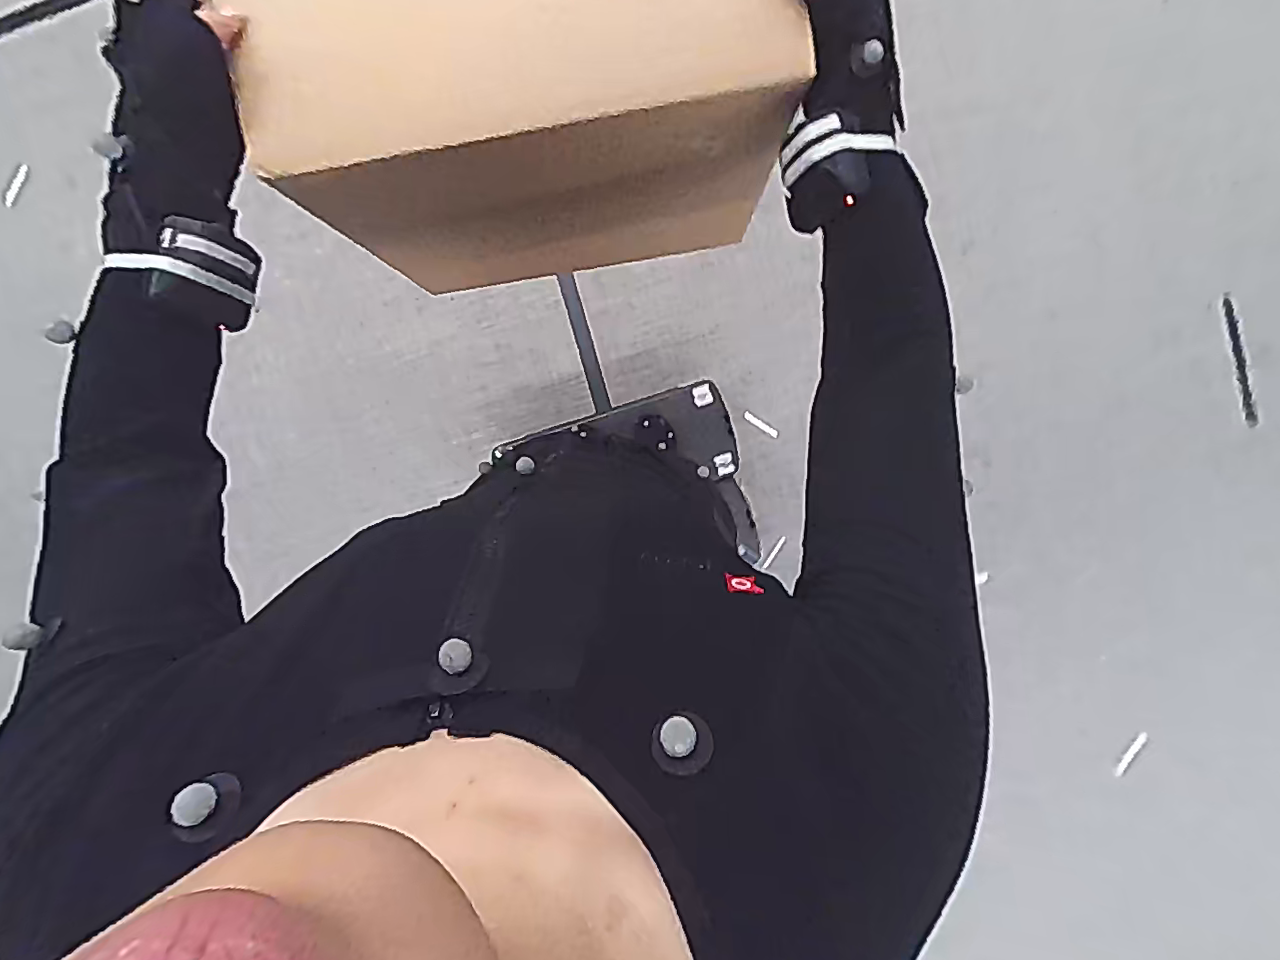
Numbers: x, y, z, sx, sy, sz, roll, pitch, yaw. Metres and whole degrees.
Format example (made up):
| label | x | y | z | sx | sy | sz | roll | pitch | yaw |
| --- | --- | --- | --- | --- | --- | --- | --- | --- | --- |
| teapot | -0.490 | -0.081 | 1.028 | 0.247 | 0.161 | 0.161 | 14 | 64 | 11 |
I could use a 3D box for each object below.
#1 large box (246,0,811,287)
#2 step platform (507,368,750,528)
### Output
| label | x | y | z | sx | sy | sz | roll | pitch | yaw |
| --- | --- | --- | --- | --- | --- | --- | --- | --- | --- |
| large box | -0.094 | -0.418 | 0.534 | 0.408 | 0.320 | 0.320 | -9 | 94 | 1 |
| step platform | -0.031 | -0.091 | 1.568 | 0.684 | 0.204 | 0.286 | -18 | 96 | 2 |
